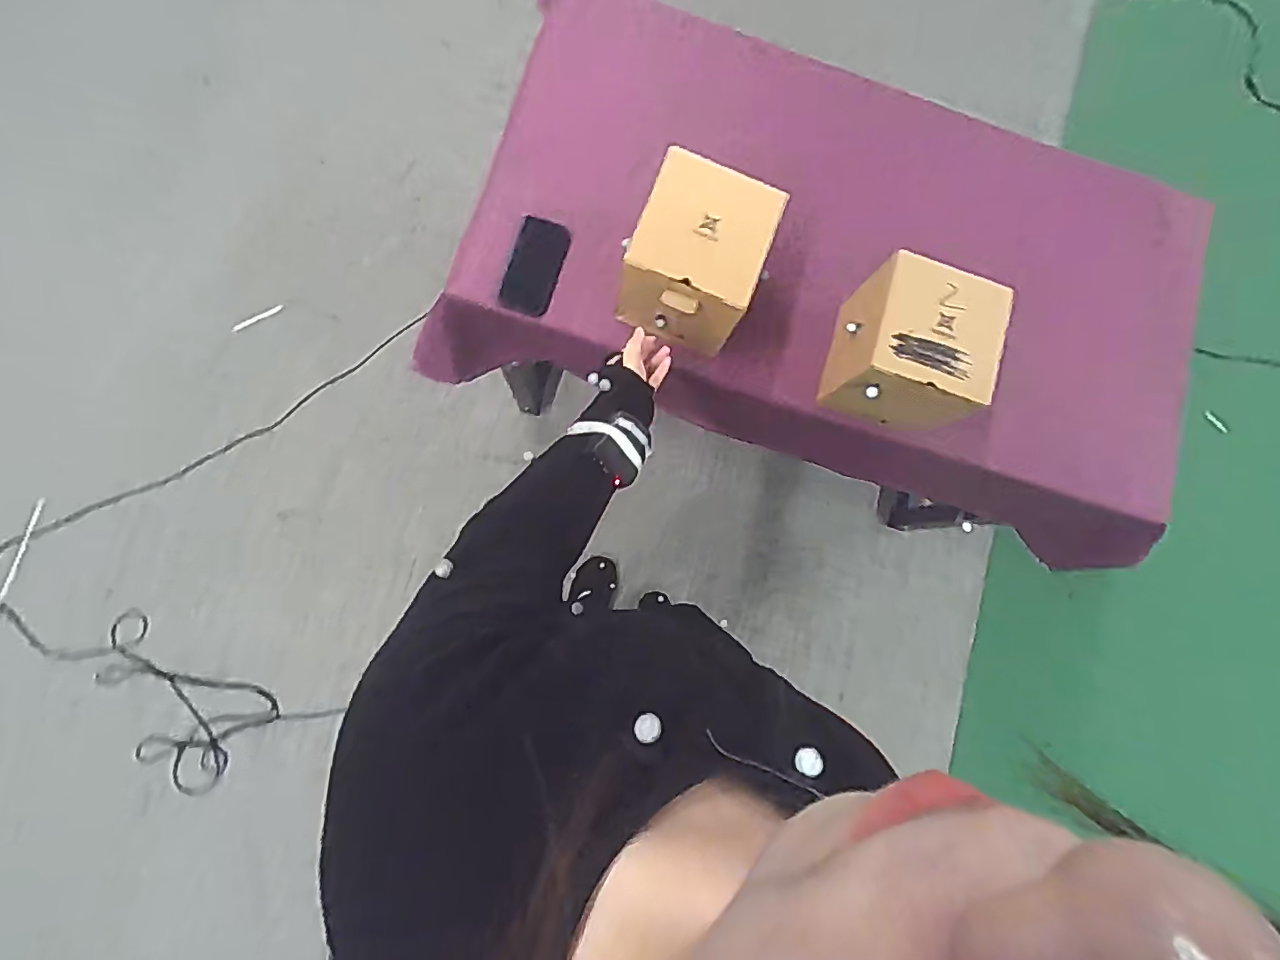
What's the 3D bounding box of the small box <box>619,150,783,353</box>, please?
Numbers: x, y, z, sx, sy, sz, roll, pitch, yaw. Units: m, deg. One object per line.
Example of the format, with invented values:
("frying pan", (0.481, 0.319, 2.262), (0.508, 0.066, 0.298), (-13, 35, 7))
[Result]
("small box", (0.075, -0.312, 0.773), (0.168, 0.176, 0.179), (22, 81, -3))
